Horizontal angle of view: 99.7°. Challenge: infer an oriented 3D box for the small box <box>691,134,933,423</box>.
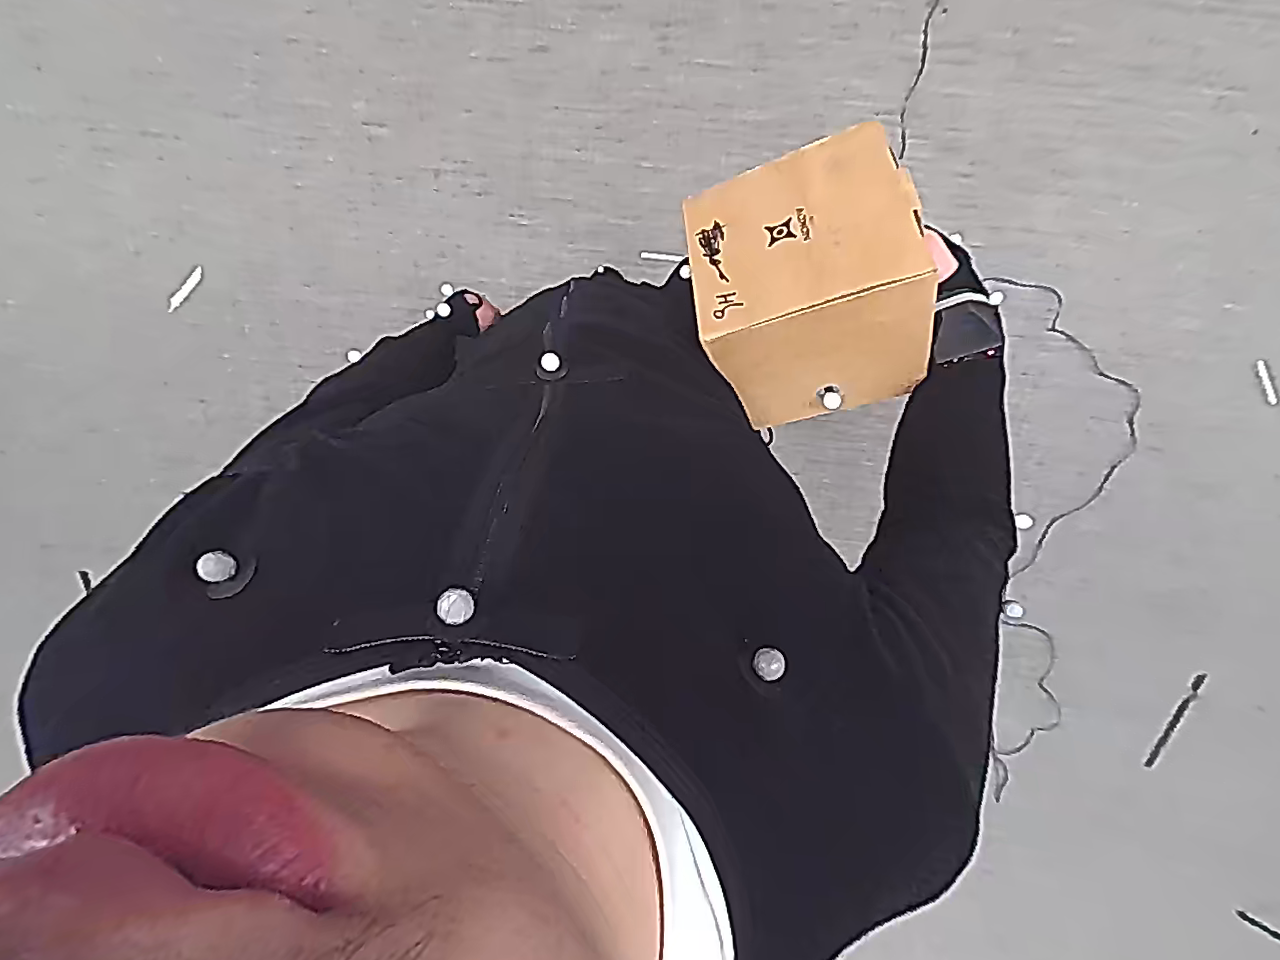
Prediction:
[{"bbox_3d":[0.161,-0.177,0.524,0.179,0.168,0.176,-12,154,19],"label":"small box"}]
